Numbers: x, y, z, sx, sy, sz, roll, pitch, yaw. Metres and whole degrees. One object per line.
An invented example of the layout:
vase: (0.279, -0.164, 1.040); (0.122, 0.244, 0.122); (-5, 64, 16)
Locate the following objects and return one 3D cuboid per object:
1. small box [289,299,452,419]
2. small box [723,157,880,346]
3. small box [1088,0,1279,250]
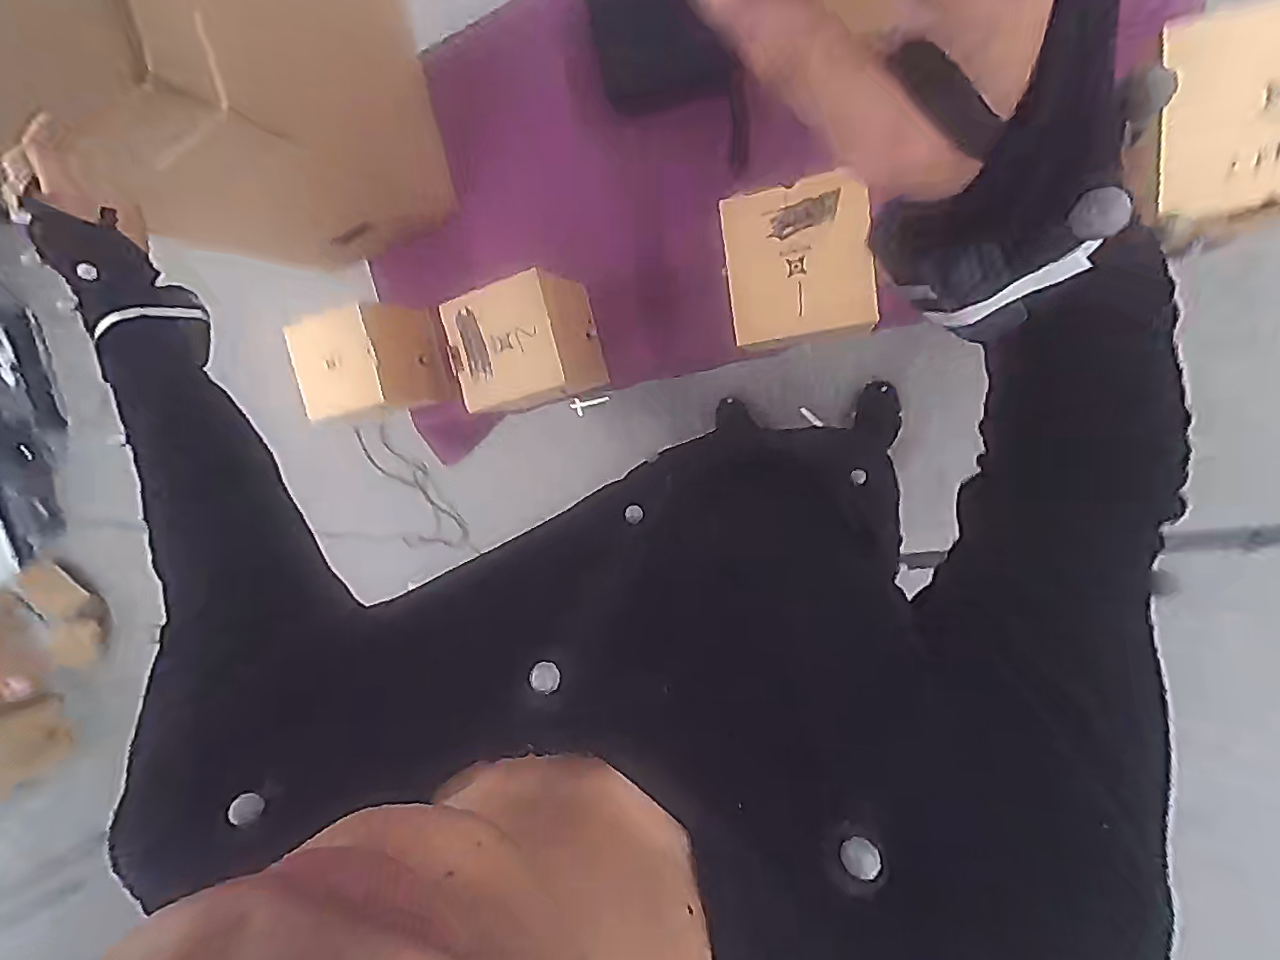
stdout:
small box: (-0.473, -0.209, 0.967); (0.179, 0.176, 0.168); (-11, 97, 20)
small box: (0.212, -0.279, 0.706); (0.168, 0.176, 0.179); (-6, 99, 21)
small box: (0.589, -0.356, 0.551); (0.168, 0.176, 0.179); (-3, 99, 21)
